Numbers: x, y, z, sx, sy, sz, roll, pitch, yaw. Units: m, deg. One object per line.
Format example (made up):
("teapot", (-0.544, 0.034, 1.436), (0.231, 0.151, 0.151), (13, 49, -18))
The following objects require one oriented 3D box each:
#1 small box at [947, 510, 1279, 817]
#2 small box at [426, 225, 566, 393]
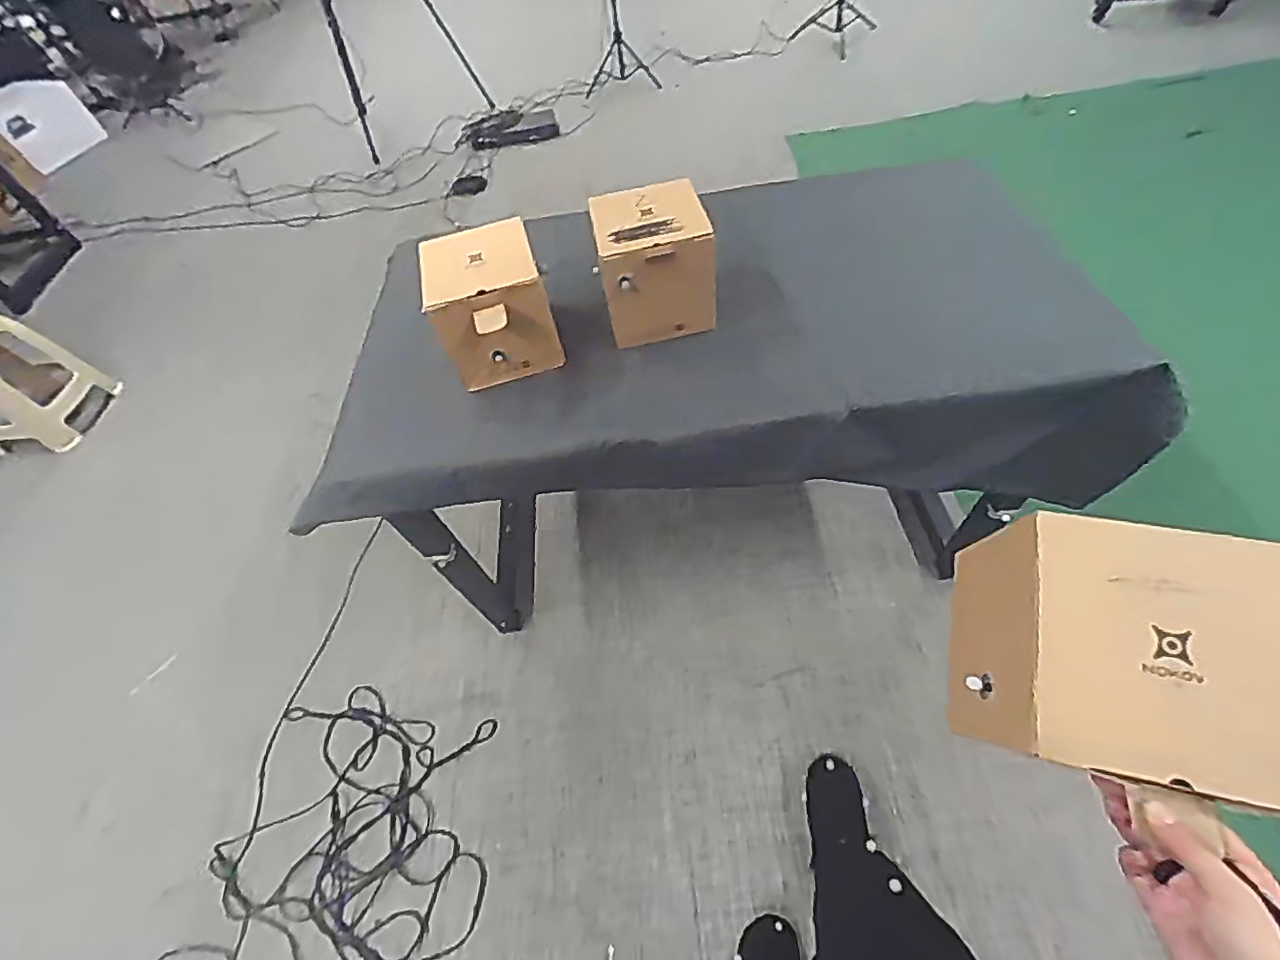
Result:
("small box", (0.369, 0.140, 0.439), (0.168, 0.176, 0.179), (9, 72, 12))
("small box", (-0.226, -0.271, 0.865), (0.168, 0.176, 0.179), (-17, 55, -4))
